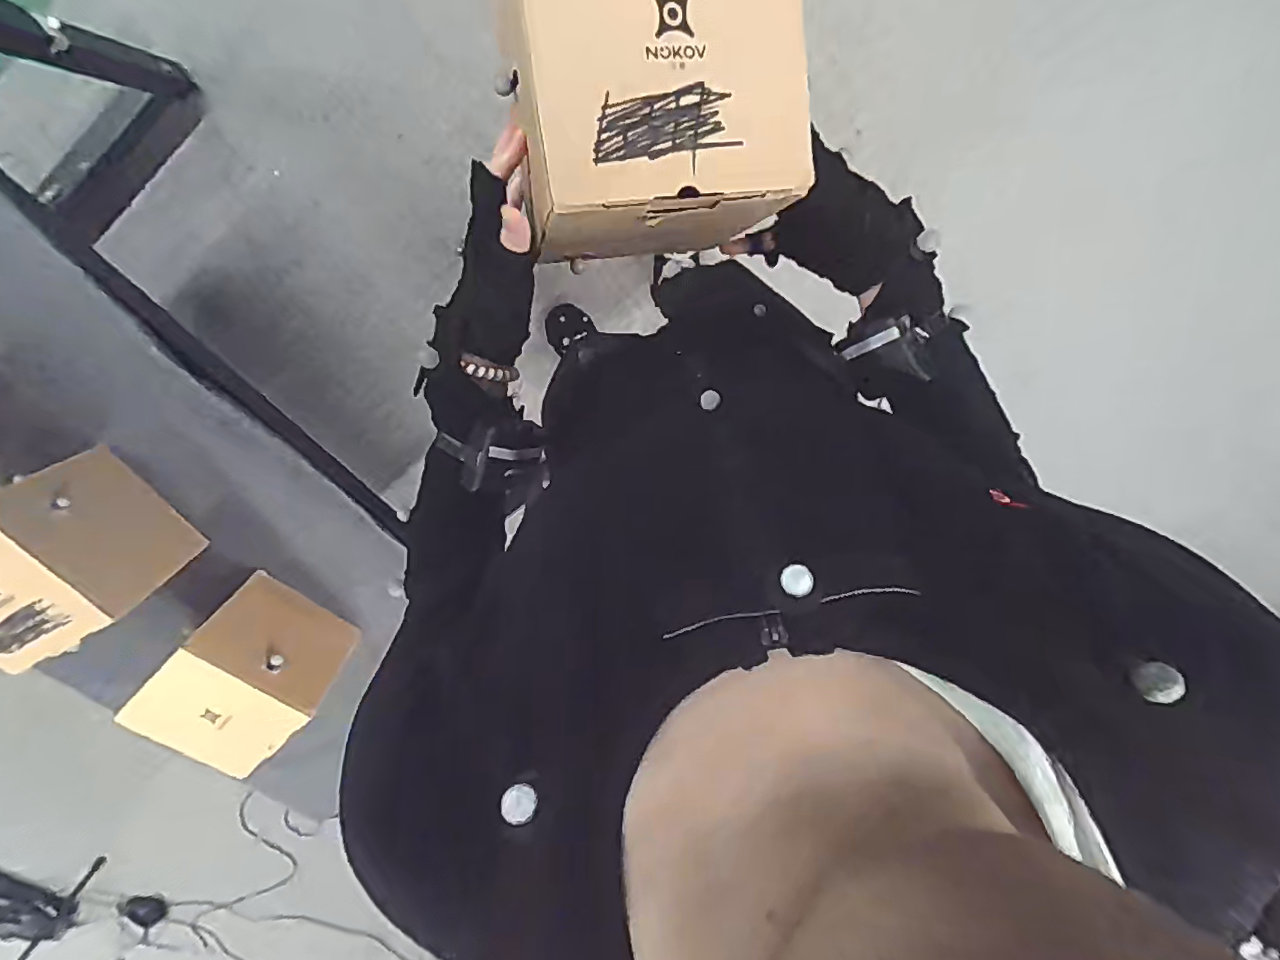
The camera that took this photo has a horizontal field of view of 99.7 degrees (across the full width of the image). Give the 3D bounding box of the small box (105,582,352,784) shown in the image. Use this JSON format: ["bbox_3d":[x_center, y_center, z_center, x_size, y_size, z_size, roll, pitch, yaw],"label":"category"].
[{"bbox_3d":[-0.548,0.267,0.748,0.168,0.176,0.179,-41,112,13],"label":"small box"}]

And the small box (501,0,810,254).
[{"bbox_3d":[-0.001,-0.265,0.377,0.168,0.176,0.179,-10,102,-13],"label":"small box"}]
